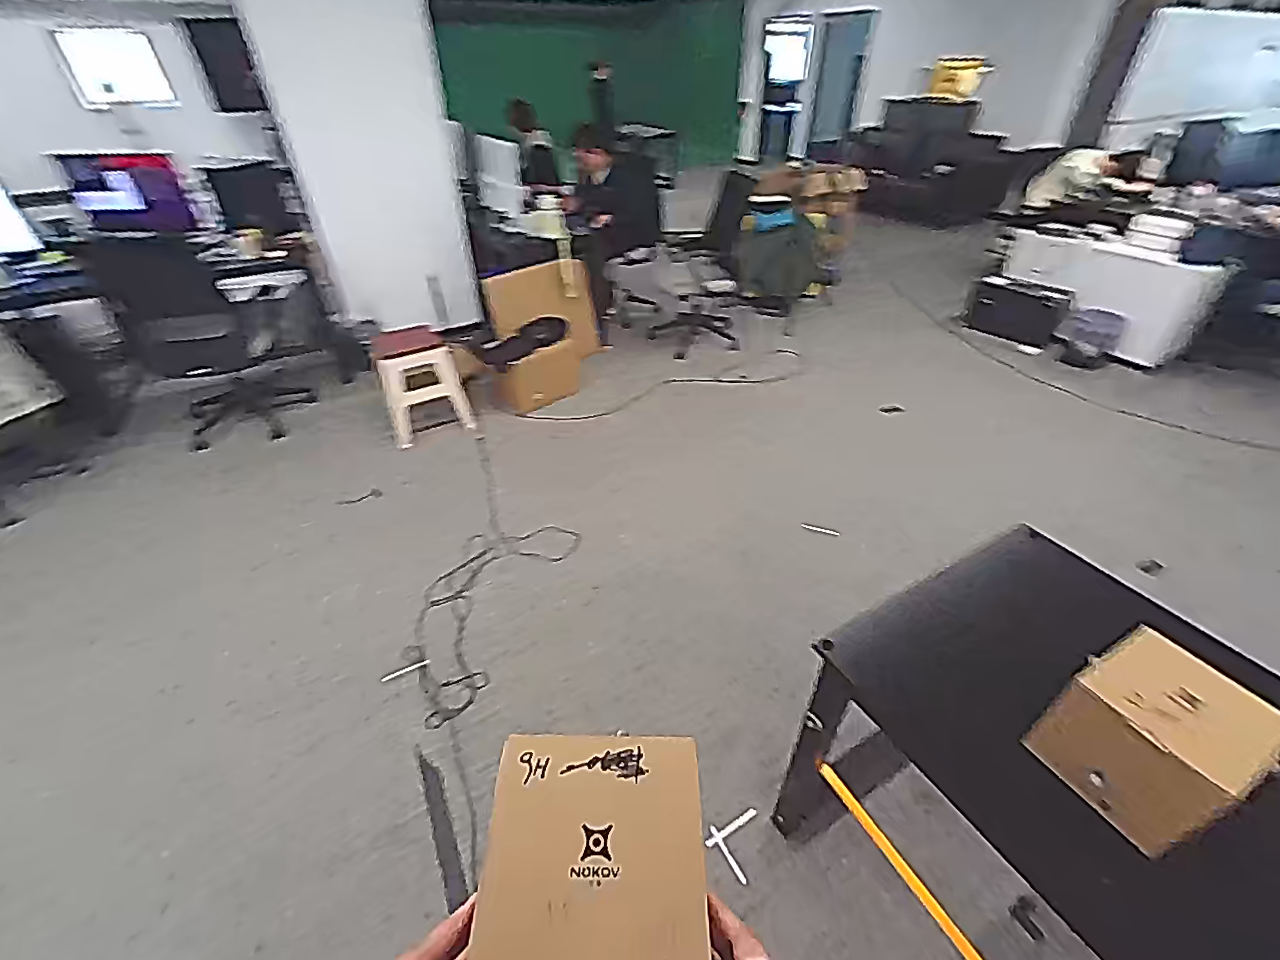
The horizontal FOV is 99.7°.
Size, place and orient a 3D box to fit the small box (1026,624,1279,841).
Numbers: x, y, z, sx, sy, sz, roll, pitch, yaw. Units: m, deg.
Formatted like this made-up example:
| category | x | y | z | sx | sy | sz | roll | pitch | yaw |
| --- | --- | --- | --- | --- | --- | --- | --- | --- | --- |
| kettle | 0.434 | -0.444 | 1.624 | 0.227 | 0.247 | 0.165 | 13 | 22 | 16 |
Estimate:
| category | x | y | z | sx | sy | sz | roll | pitch | yaw |
| --- | --- | --- | --- | --- | --- | --- | --- | --- | --- |
| small box | 0.669 | 0.333 | 0.723 | 0.179 | 0.176 | 0.168 | -19 | 41 | -22 |

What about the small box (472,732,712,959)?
| category | x | y | z | sx | sy | sz | roll | pitch | yaw |
| --- | --- | --- | --- | --- | --- | --- | --- | --- | --- |
| small box | -0.032 | 0.336 | 0.461 | 0.168 | 0.176 | 0.179 | 2 | 45 | -1 |
